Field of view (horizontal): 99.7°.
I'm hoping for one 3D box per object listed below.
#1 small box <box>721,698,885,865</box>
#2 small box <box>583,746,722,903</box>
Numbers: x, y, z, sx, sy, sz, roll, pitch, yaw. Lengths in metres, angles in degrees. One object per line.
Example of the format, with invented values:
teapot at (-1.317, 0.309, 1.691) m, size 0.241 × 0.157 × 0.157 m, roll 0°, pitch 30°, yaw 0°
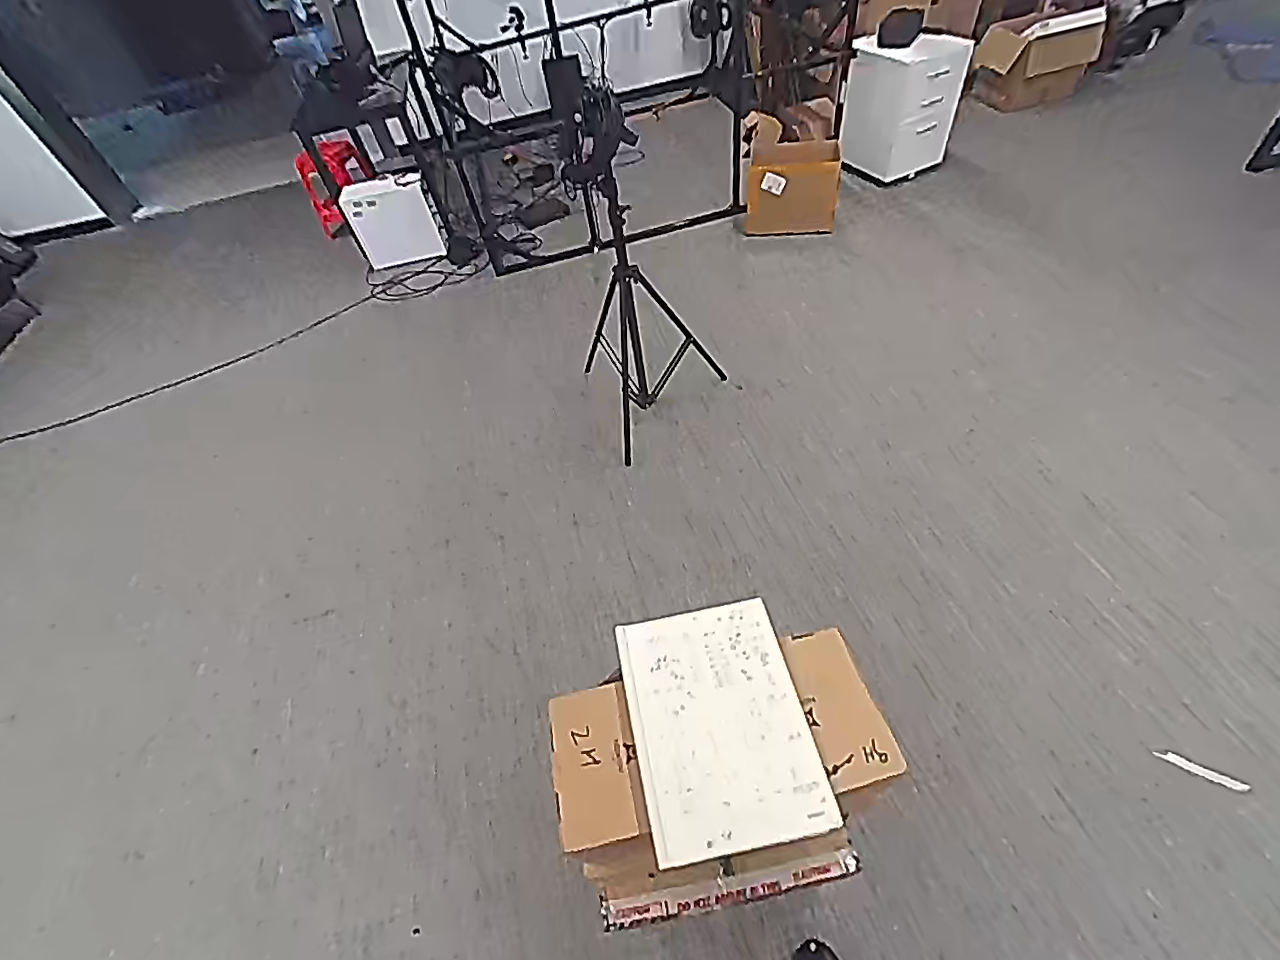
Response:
small box at (0.229, 0.457, 0.816) m, size 0.179 × 0.176 × 0.168 m, roll -16°, pitch 51°, yaw -4°
small box at (0.021, 0.512, 0.803) m, size 0.179 × 0.176 × 0.168 m, roll -11°, pitch 51°, yaw 2°
